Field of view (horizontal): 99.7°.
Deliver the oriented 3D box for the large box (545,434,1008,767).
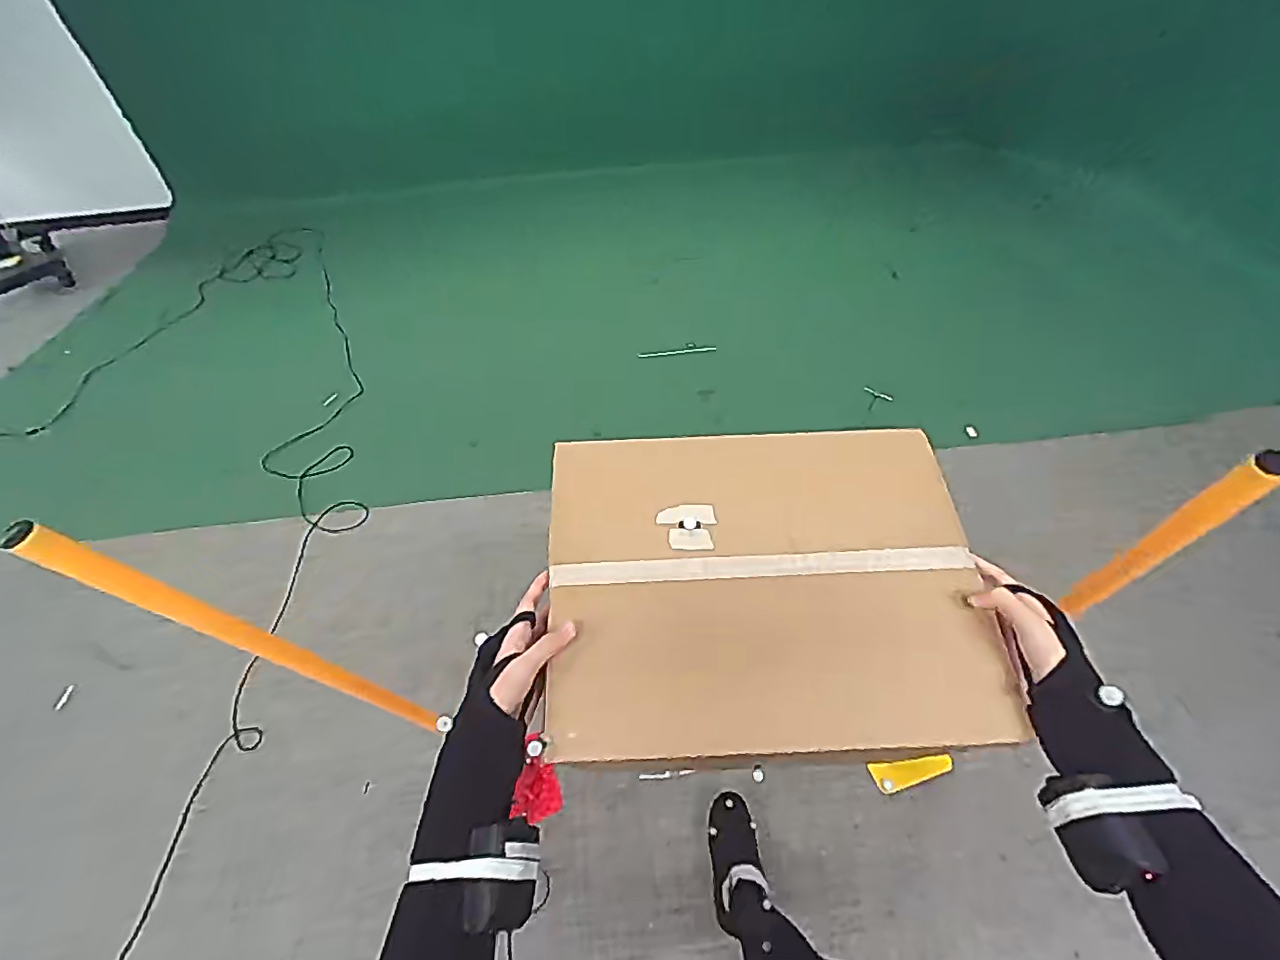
[{"bbox_3d":[0.116,0.165,0.660,0.408,0.320,0.320,-3,59,1],"label":"large box"}]
